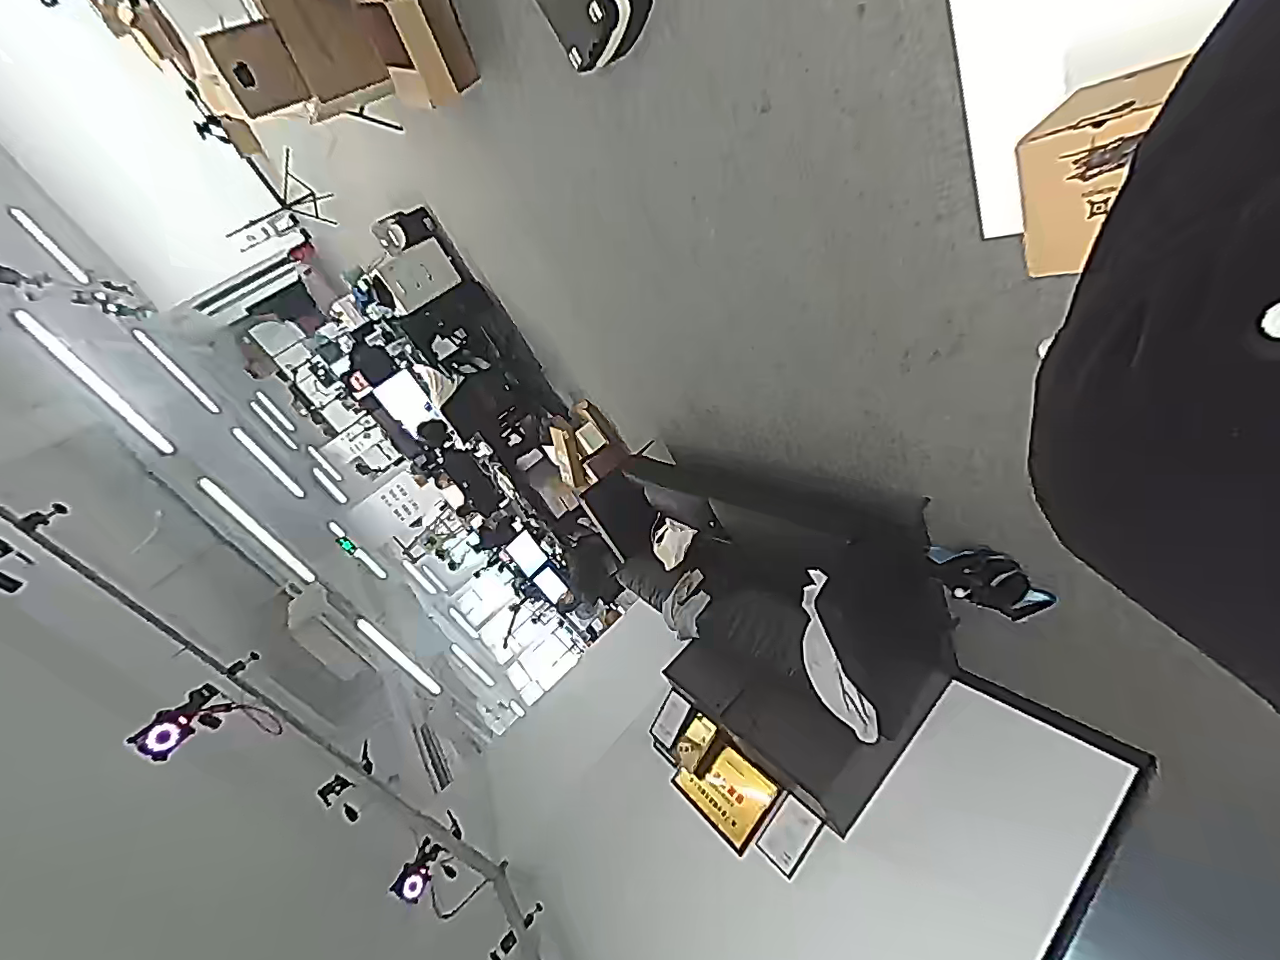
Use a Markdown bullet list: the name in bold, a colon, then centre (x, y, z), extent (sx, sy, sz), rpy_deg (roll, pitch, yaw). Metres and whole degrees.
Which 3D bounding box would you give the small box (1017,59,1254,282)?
- **small box**: centre (0.595, -0.368, 0.656), extent (0.168, 0.176, 0.179), rpy_deg (21, 148, 55)
